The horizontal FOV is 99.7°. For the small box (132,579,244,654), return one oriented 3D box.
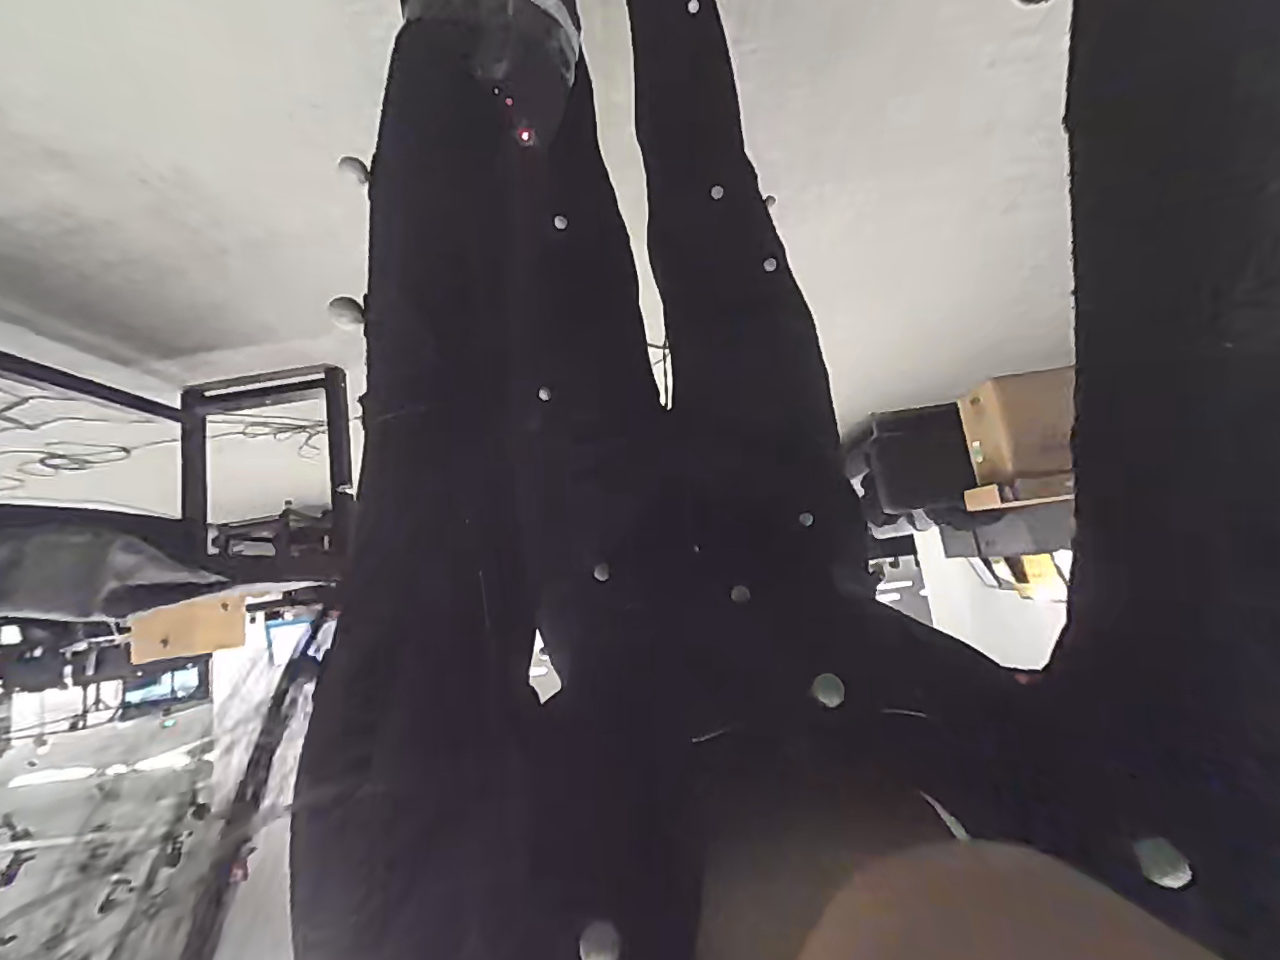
[{"bbox_3d":[-1.205,0.363,1.454,0.179,0.176,0.168,-9,170,4],"label":"small box"}]
